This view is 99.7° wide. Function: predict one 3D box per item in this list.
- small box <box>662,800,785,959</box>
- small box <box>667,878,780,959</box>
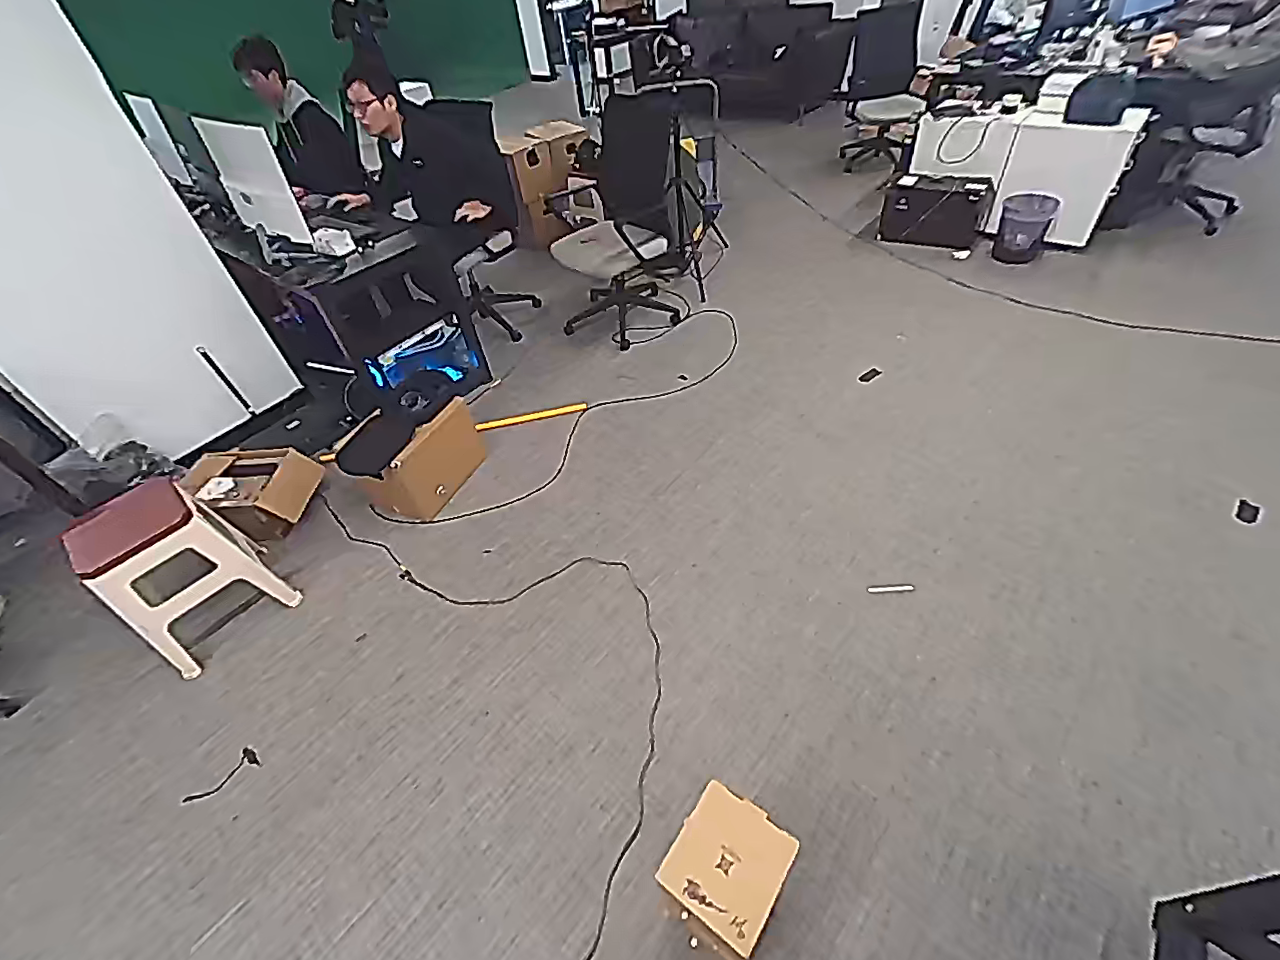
[{"bbox_3d":[0.159,0.760,1.024,0.168,0.176,0.179,23,51,26],"label":"small box"},{"bbox_3d":[0.174,0.879,1.134,0.168,0.176,0.179,25,54,29],"label":"small box"}]
